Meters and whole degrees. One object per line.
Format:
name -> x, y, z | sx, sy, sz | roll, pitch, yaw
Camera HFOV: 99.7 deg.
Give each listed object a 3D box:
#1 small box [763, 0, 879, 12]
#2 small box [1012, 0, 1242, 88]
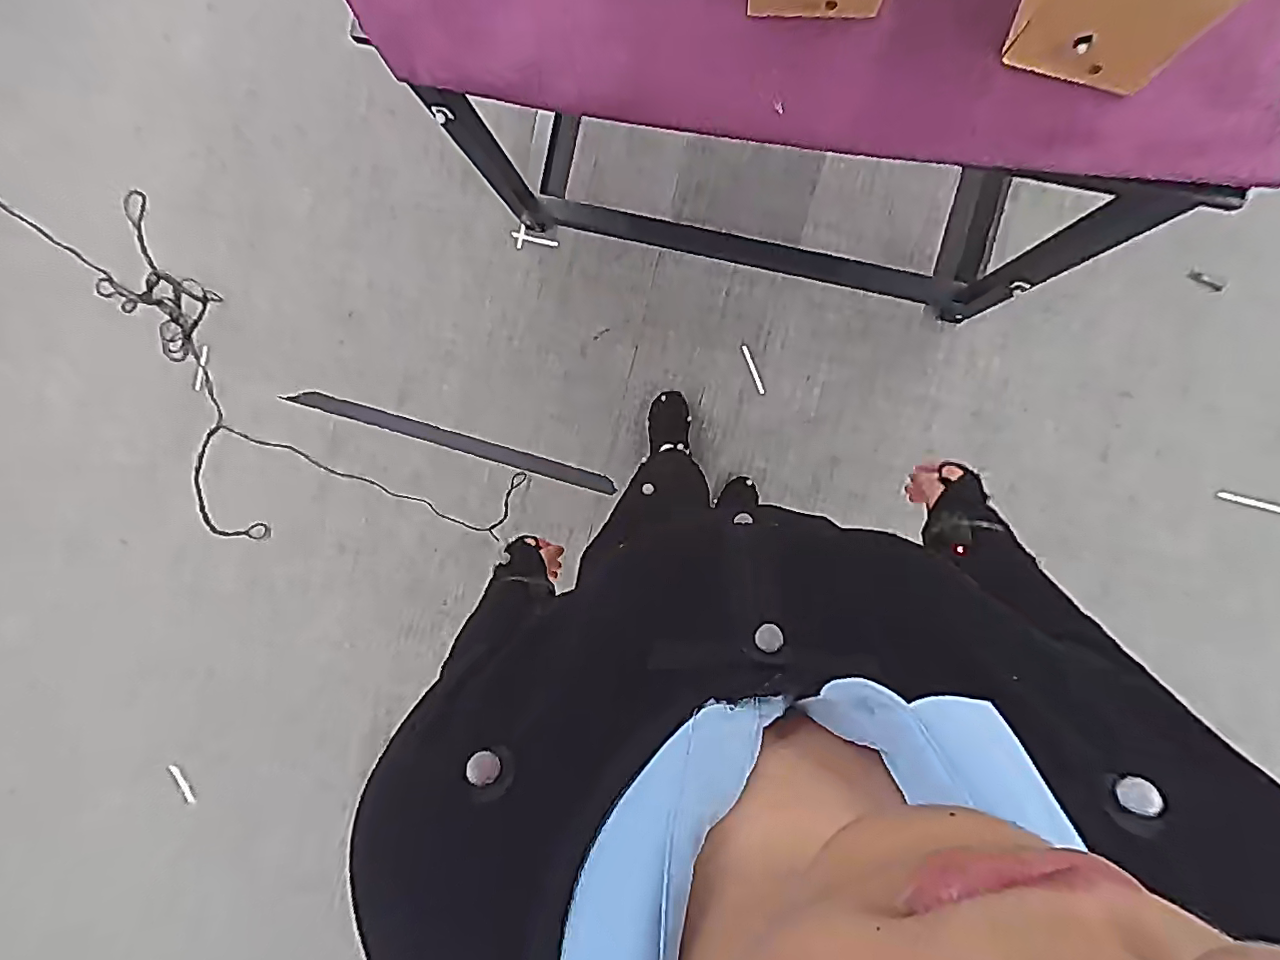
small box -> 0.224, -0.686, 0.618 | 0.168, 0.176, 0.179 | 6, 94, 5
small box -> 0.553, -0.585, 0.588 | 0.168, 0.176, 0.179 | 19, 94, 5
